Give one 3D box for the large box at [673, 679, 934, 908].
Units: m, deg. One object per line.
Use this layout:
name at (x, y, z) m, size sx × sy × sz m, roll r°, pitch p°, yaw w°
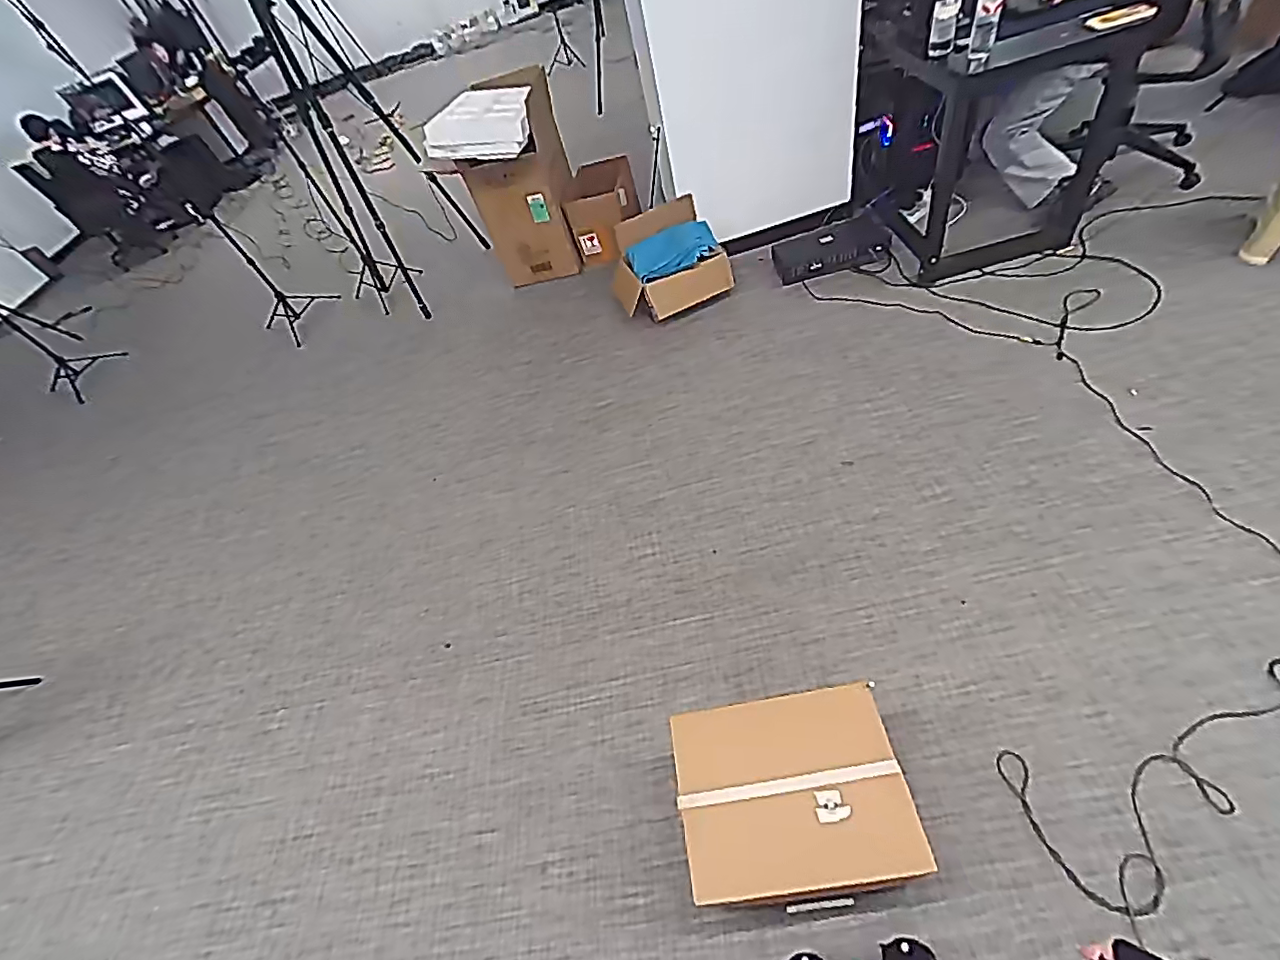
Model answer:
large box at (0.308, 0.651, 1.110) m, size 0.408 × 0.320 × 0.320 m, roll -13°, pitch 50°, yaw 6°
